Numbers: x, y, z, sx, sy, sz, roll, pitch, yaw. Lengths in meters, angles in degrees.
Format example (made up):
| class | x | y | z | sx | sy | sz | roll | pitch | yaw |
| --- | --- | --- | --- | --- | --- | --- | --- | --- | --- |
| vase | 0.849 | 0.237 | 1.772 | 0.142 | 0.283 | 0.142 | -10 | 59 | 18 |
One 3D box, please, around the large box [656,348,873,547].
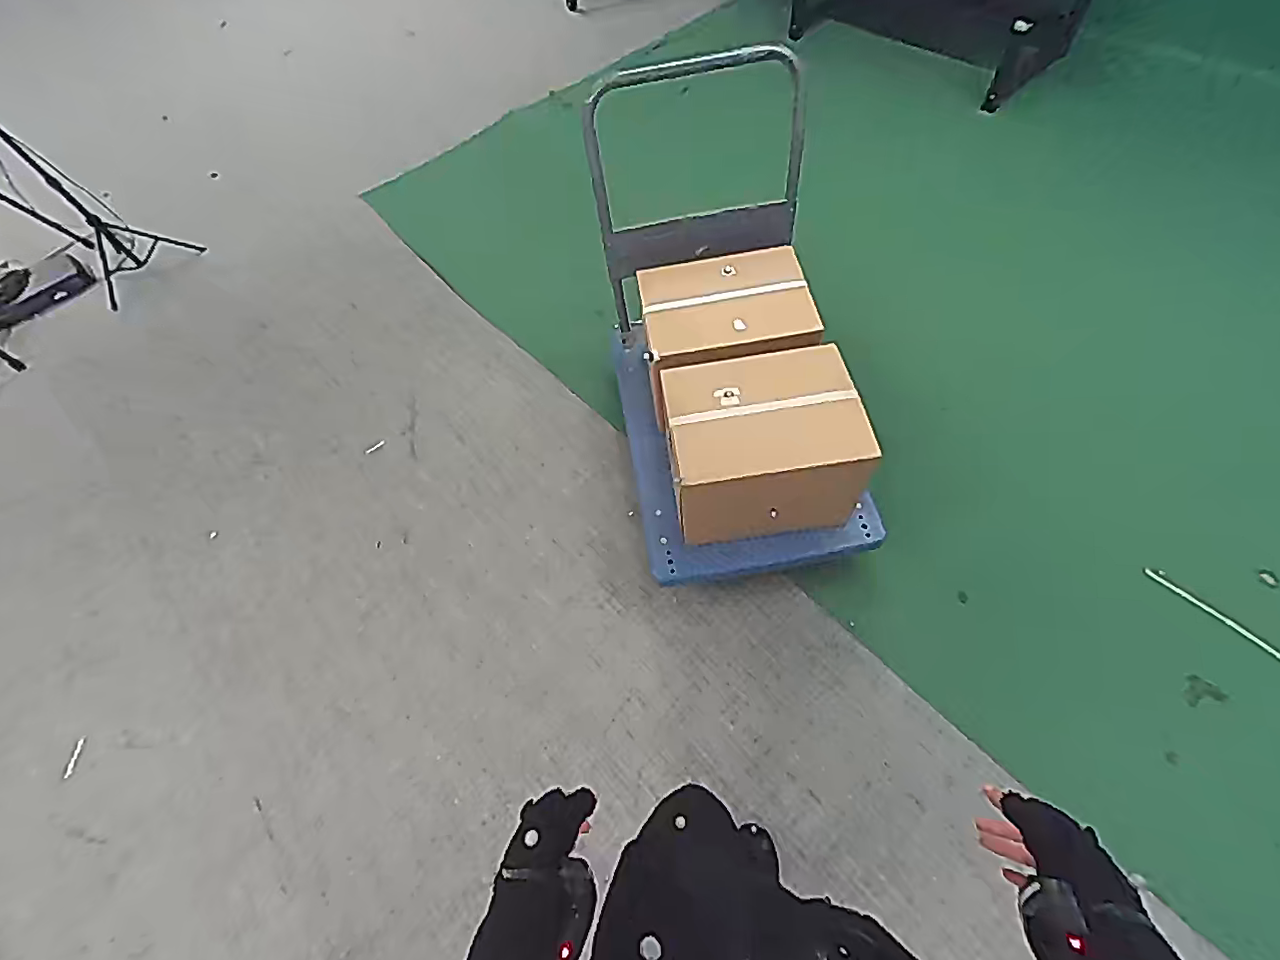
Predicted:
| class | x | y | z | sx | sy | sz | roll | pitch | yaw |
| --- | --- | --- | --- | --- | --- | --- | --- | --- | --- |
| large box | 0.266 | -0.062 | 1.275 | 0.408 | 0.320 | 0.320 | -9 | 59 | 2 |
